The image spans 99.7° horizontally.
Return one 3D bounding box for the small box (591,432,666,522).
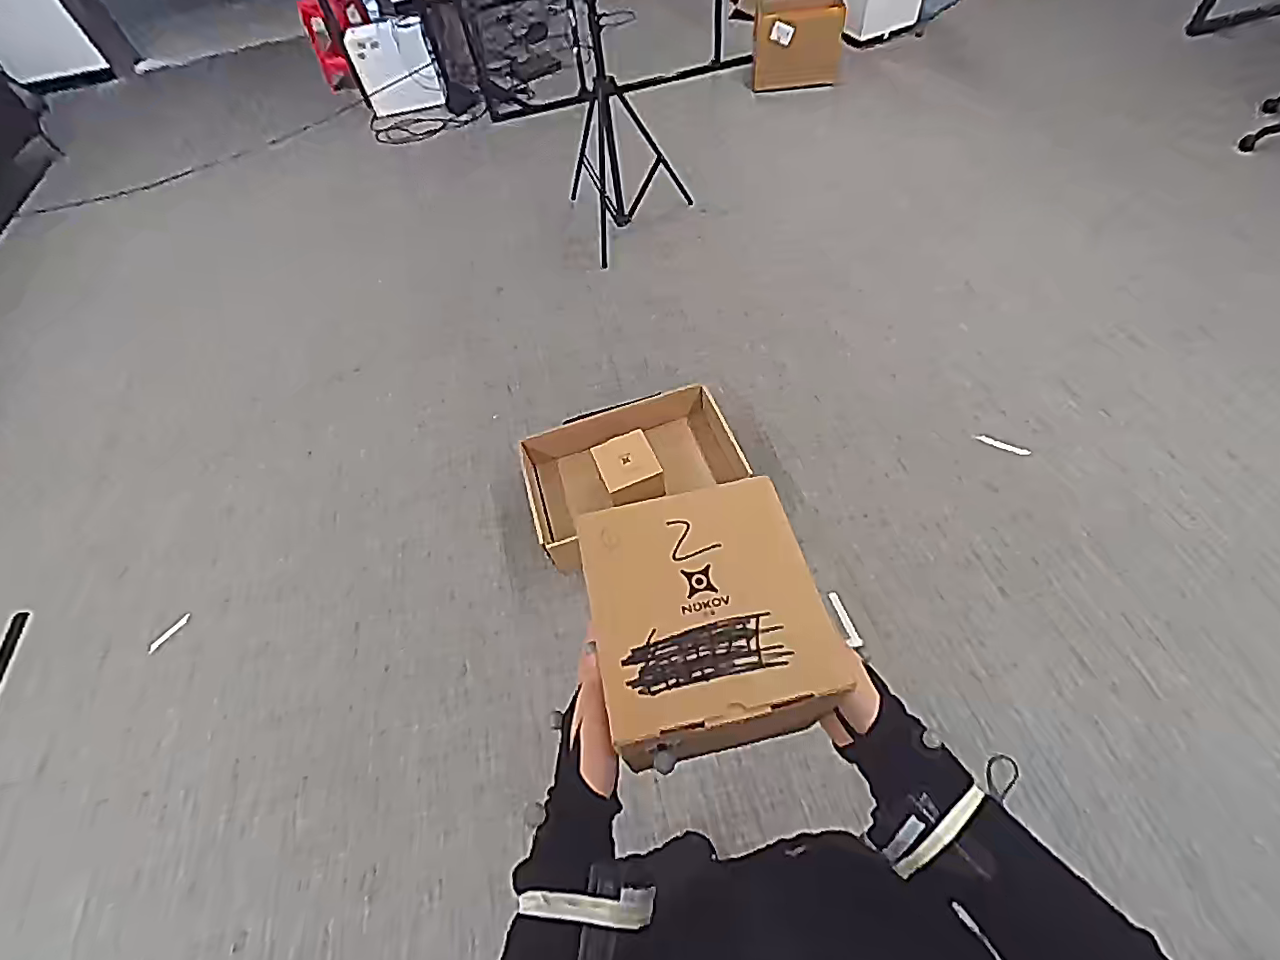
[{"bbox_3d":[-0.032,-0.006,1.618,0.168,0.176,0.179,-23,58,-7],"label":"small box"}]
